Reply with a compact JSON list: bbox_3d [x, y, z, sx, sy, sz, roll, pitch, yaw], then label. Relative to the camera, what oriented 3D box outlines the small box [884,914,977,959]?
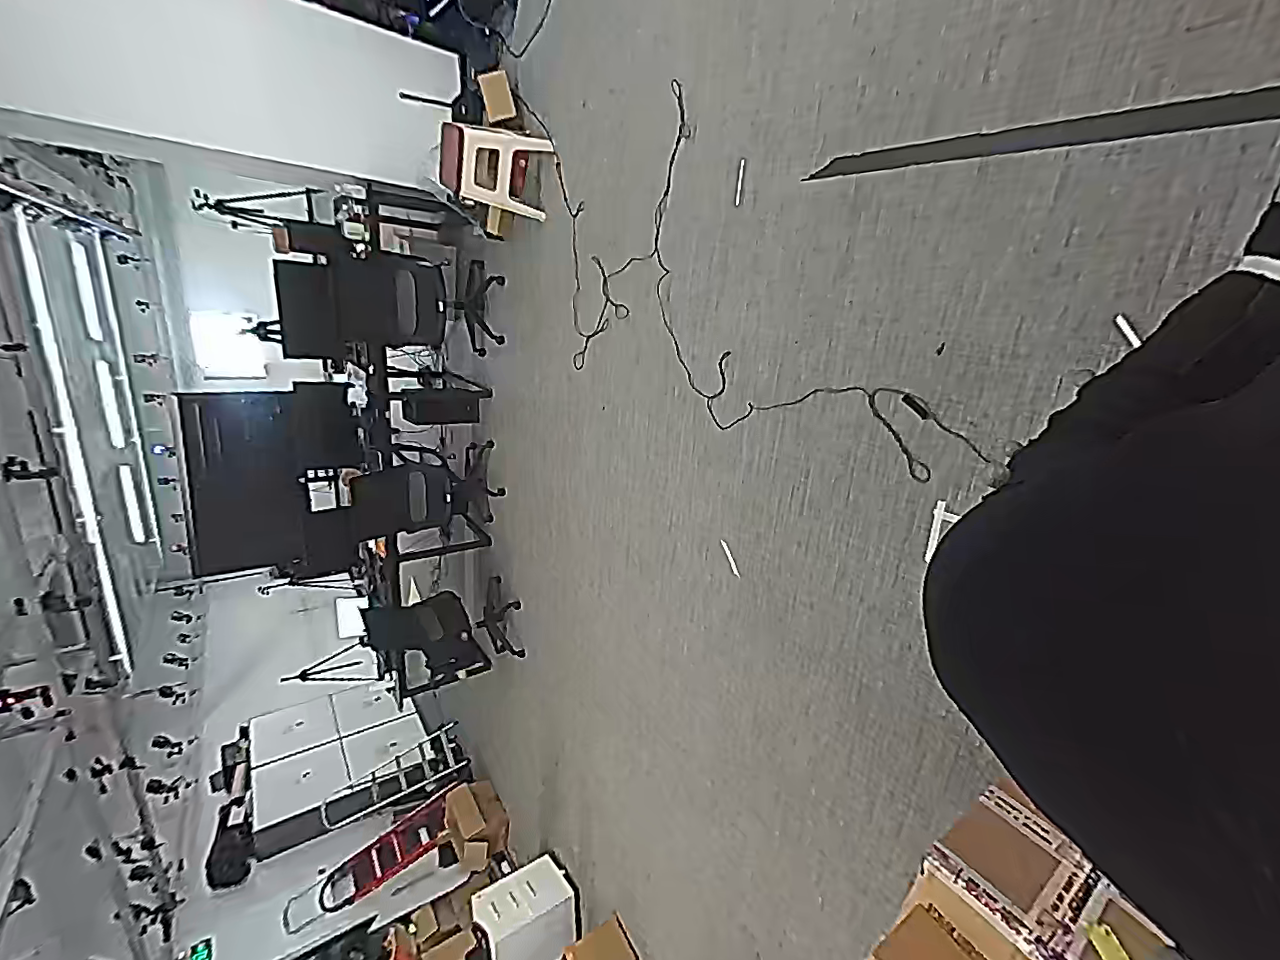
[{"bbox_3d":[0.527,0.935,0.957,0.179,0.176,0.168,38,124,48],"label":"small box"}]
